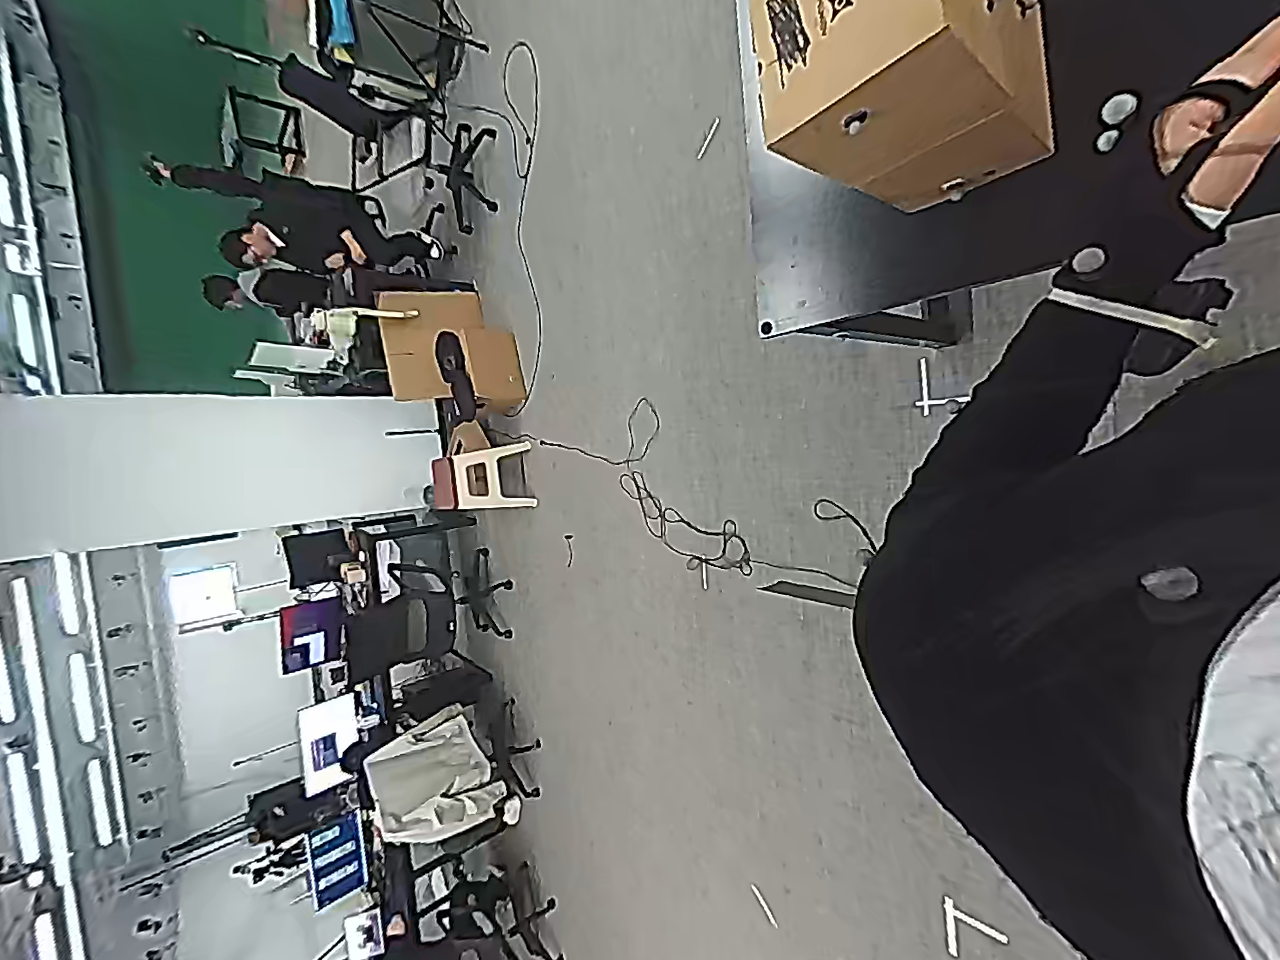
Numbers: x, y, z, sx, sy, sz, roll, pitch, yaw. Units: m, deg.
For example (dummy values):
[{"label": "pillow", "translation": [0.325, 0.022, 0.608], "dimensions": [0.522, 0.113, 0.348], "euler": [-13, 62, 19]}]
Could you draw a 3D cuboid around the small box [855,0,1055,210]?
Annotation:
[{"label": "small box", "translation": [0.364, -0.453, 0.641], "dimensions": [0.168, 0.176, 0.179], "euler": [-6, 92, 52]}]

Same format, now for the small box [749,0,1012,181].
[{"label": "small box", "translation": [0.236, -0.432, 0.539], "dimensions": [0.179, 0.176, 0.168], "euler": [-7, 91, 51]}]
